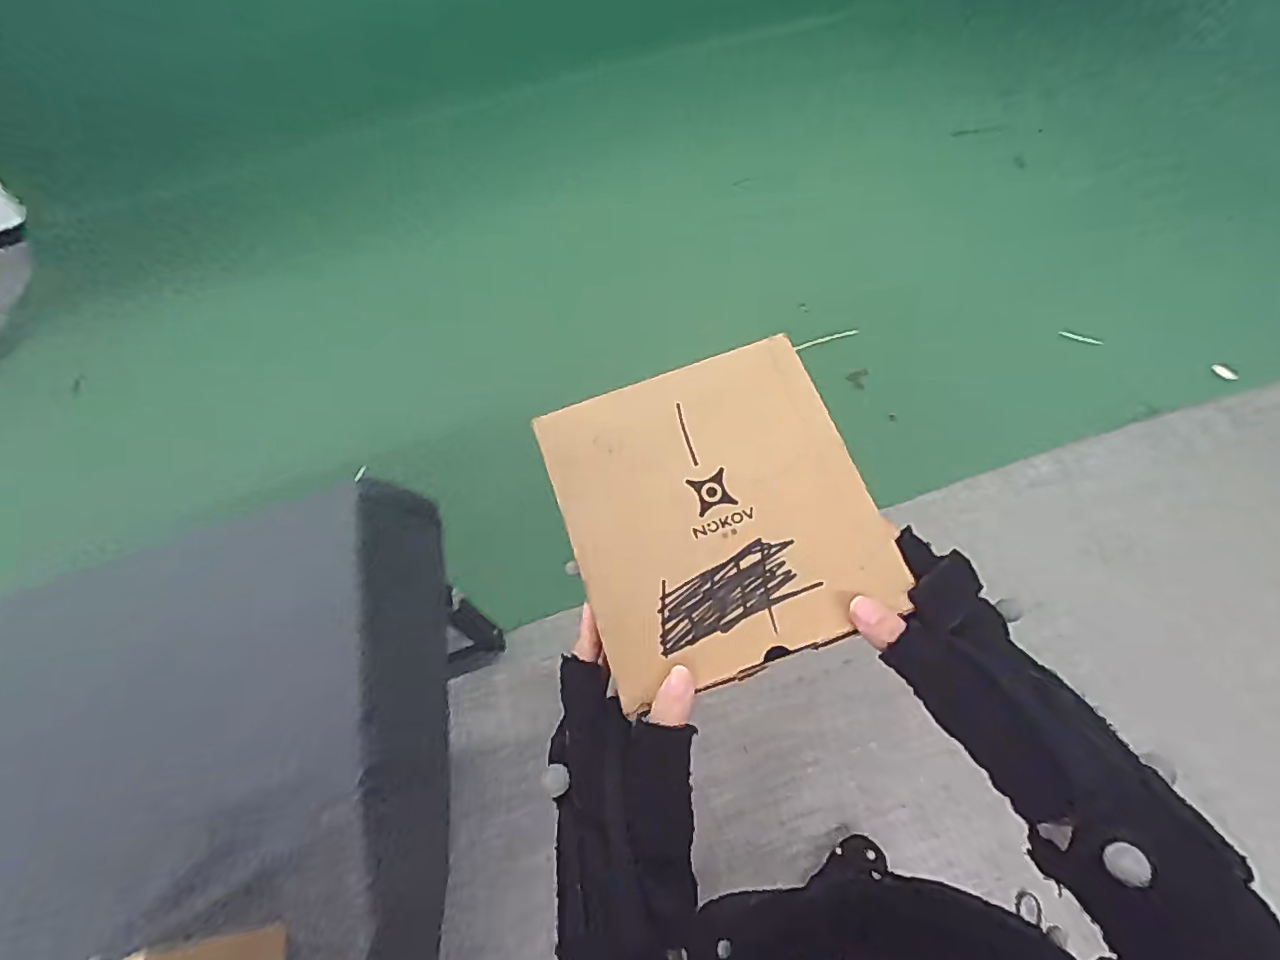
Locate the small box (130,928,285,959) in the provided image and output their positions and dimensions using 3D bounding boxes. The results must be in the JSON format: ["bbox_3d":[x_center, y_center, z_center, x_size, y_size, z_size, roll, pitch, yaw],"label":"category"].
[{"bbox_3d":[-0.424,0.519,0.446,0.168,0.176,0.179,-25,56,-5],"label":"small box"}]

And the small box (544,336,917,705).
[{"bbox_3d":[0.049,0.037,0.382,0.168,0.176,0.179,-19,71,-3],"label":"small box"}]
